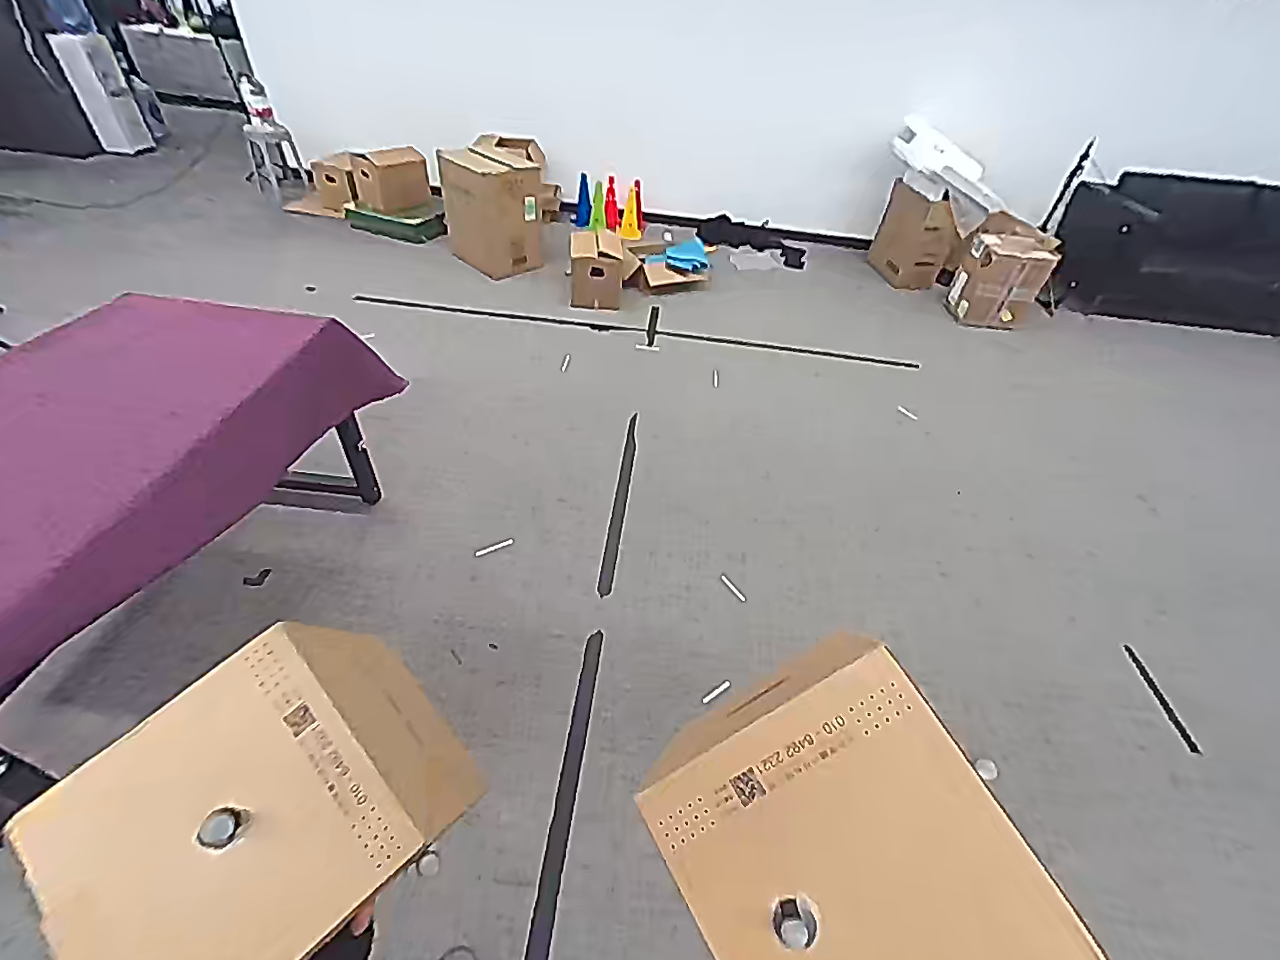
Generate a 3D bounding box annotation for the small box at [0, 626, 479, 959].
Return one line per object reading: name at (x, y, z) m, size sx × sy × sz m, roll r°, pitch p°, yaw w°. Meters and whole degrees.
small box at (-0.238, 0.219, 0.370) m, size 0.176 × 0.179 × 0.168 m, roll -40°, pitch 76°, yaw -18°
